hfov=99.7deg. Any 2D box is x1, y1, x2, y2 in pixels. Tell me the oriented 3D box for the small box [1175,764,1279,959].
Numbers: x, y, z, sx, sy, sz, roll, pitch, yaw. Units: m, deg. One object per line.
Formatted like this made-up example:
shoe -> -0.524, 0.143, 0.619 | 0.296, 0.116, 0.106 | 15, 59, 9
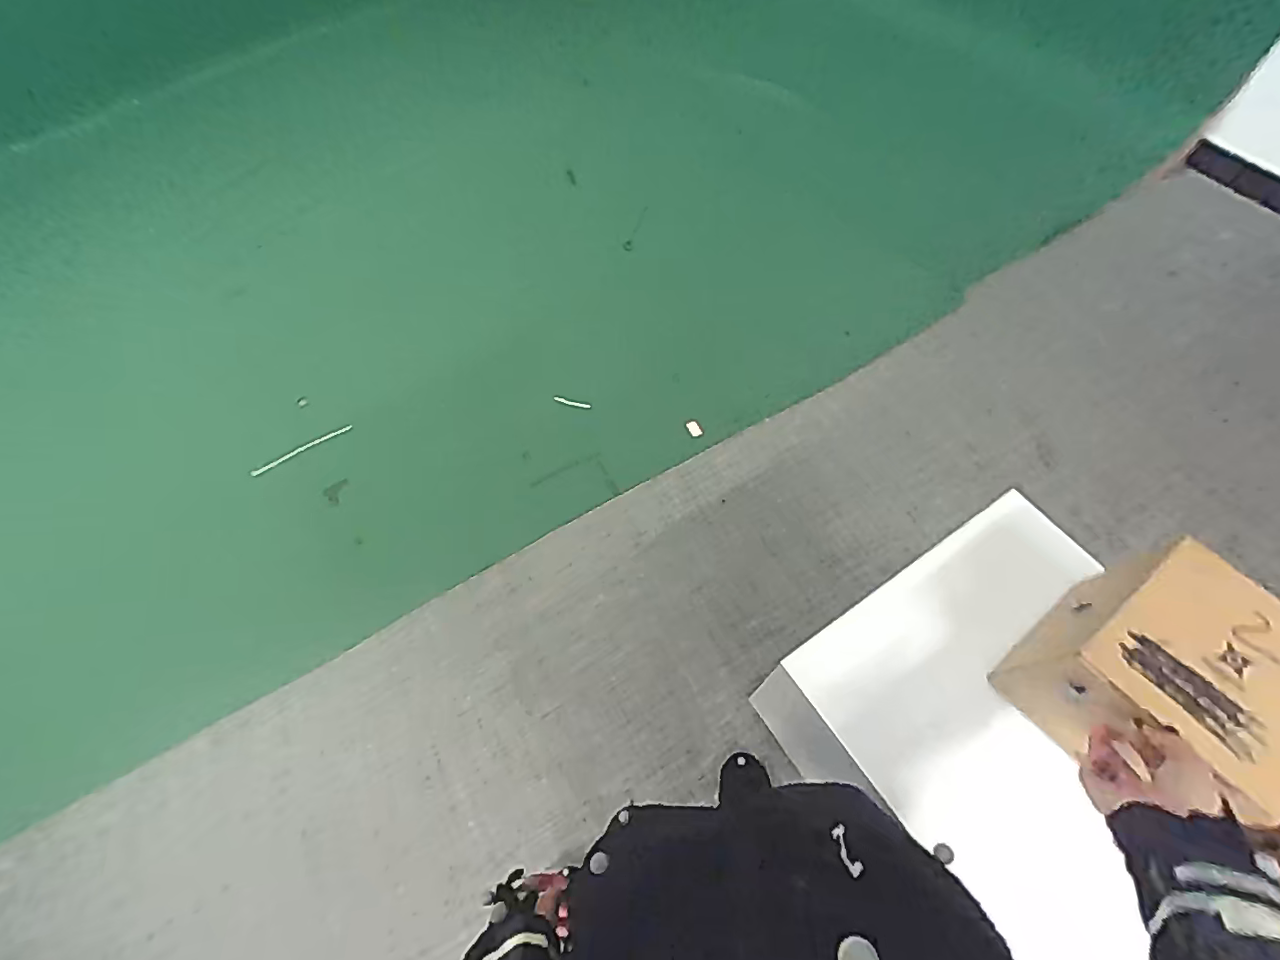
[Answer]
small box -> 0.614, 0.360, 0.443 | 0.179, 0.176, 0.168 | -32, 65, -10
